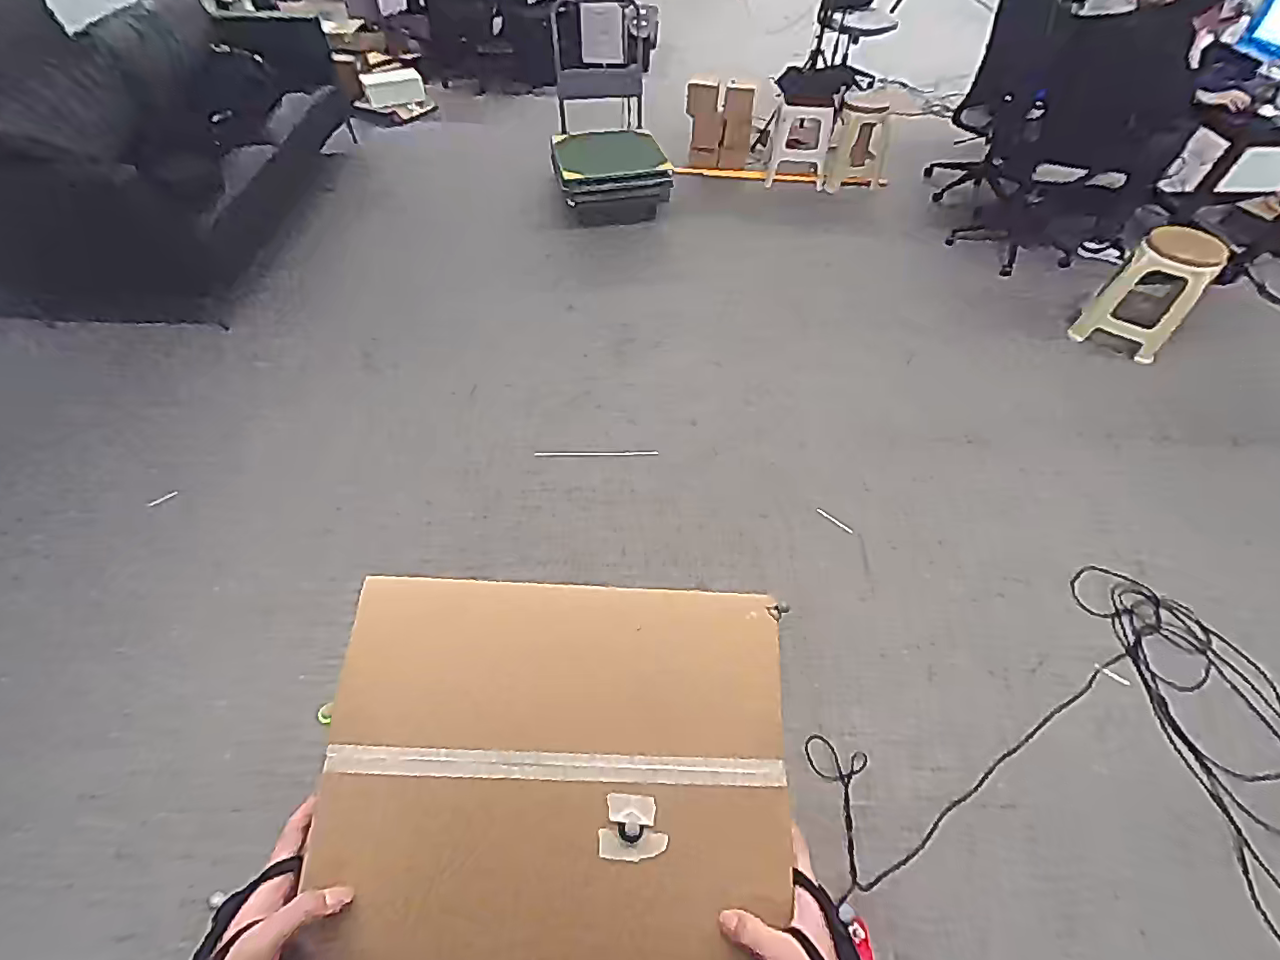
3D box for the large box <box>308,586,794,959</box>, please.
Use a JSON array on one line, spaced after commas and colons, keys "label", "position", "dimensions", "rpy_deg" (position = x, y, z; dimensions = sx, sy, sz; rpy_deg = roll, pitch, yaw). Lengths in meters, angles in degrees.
[{"label": "large box", "position": [-0.076, 0.310, 0.629], "dimensions": [0.408, 0.320, 0.320], "rpy_deg": [3, 70, -2]}]
